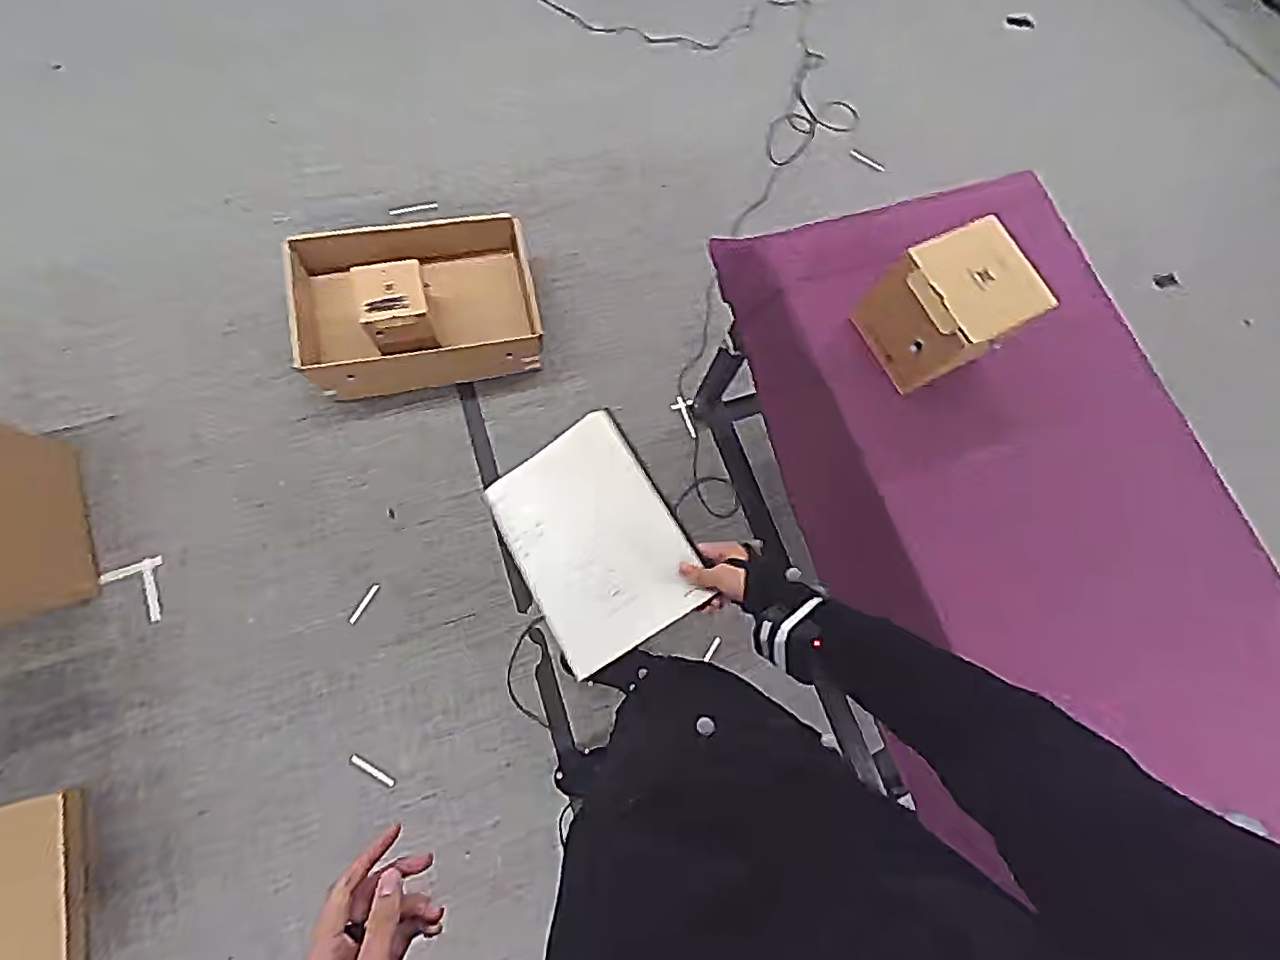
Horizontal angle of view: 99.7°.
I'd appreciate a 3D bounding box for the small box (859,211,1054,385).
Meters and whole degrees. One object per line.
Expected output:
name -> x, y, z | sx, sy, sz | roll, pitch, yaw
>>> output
small box -> 0.475, -0.274, 0.848 | 0.179, 0.176, 0.168 | -26, 80, -13
